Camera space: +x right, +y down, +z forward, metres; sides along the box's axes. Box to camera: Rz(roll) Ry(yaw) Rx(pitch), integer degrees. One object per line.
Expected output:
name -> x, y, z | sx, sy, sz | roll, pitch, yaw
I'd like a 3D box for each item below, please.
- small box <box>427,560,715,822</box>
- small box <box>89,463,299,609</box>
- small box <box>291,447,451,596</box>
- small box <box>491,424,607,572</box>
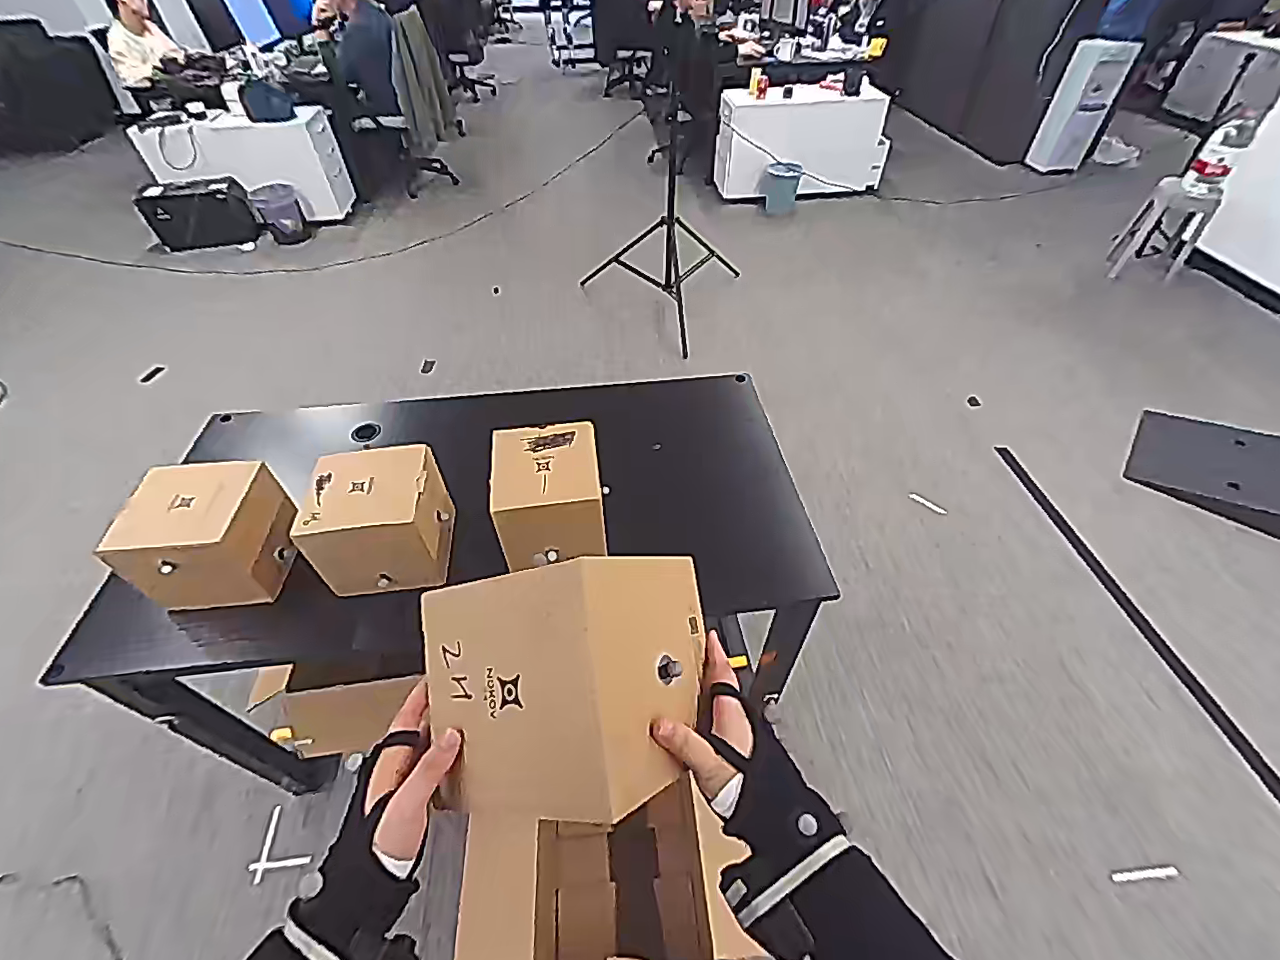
small box -> -0.049, 0.161, 0.453 | 0.179, 0.176, 0.168 | -17, 73, 29
small box -> -0.677, 0.092, 0.856 | 0.179, 0.176, 0.168 | -3, 47, -4
small box -> -0.415, 0.069, 0.874 | 0.179, 0.176, 0.168 | -6, 47, -6
small box -> -0.147, 0.030, 0.904 | 0.168, 0.176, 0.179 | -7, 48, -5
